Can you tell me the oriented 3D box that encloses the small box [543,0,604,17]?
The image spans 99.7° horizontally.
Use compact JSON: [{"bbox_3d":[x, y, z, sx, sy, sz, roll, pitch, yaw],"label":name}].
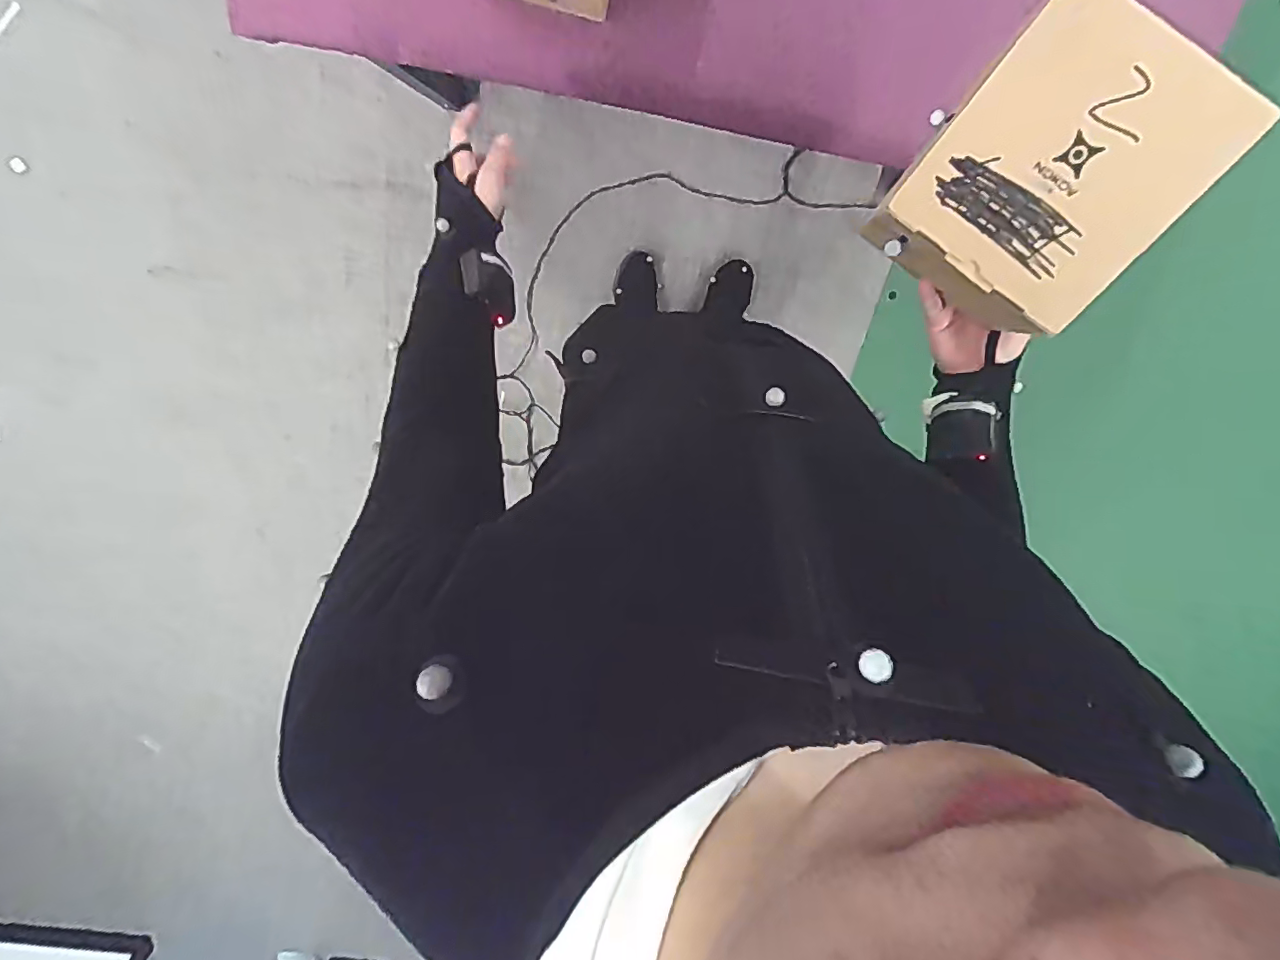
[{"bbox_3d":[-0.105,-0.623,0.549,0.168,0.176,0.179,13,111,-6],"label":"small box"}]
